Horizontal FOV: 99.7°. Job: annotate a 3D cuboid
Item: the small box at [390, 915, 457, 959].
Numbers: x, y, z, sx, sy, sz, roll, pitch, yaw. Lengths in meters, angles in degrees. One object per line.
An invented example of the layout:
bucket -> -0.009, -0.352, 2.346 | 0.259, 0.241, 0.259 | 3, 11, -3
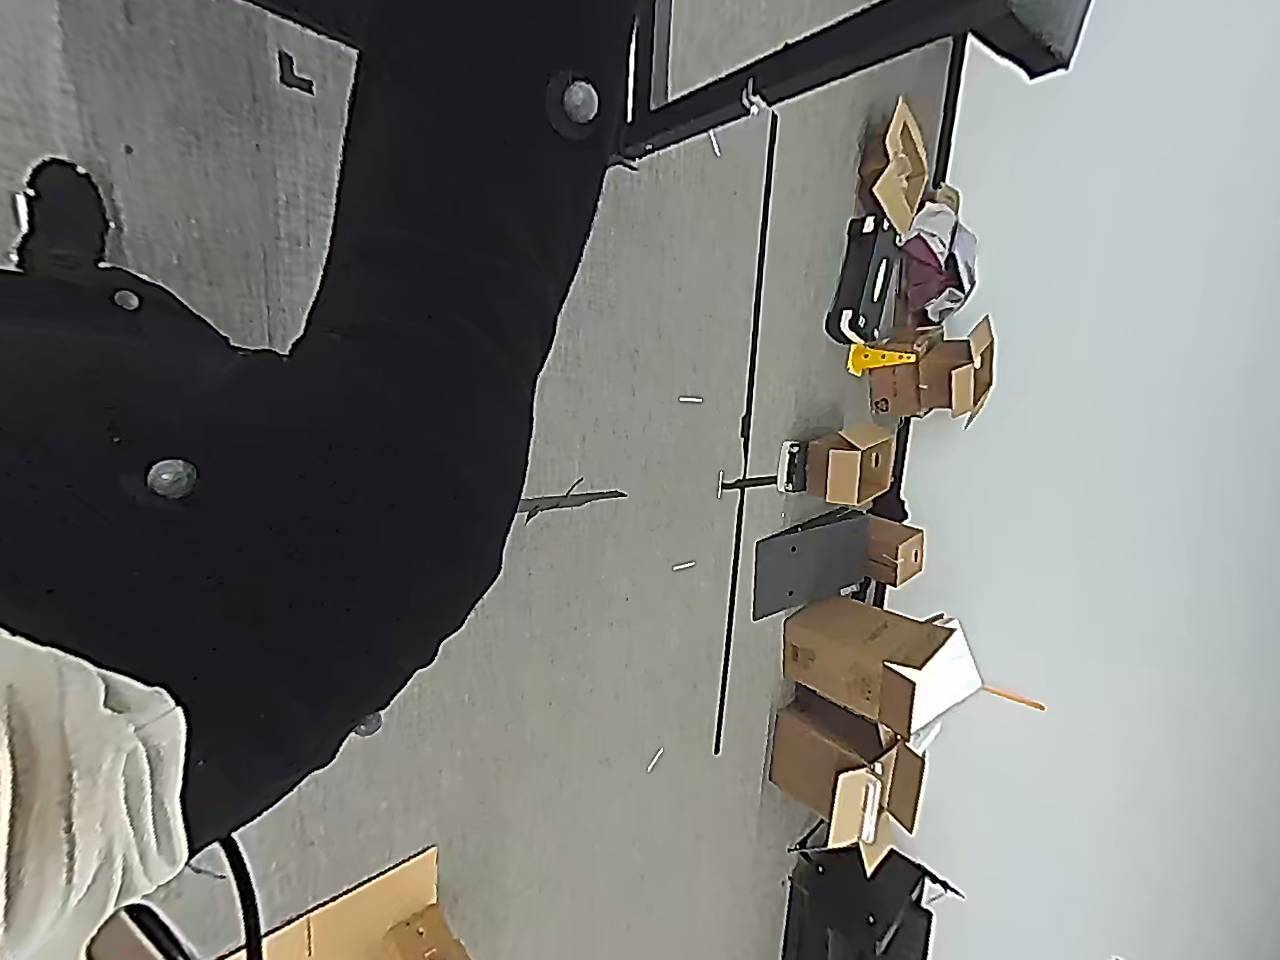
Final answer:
small box -> -0.743, 1.643, 1.846 | 0.168, 0.176, 0.179 | -2, 100, -44

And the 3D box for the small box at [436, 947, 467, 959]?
small box -> -0.623, 1.677, 1.736 | 0.168, 0.176, 0.179 | -1, 100, -45
